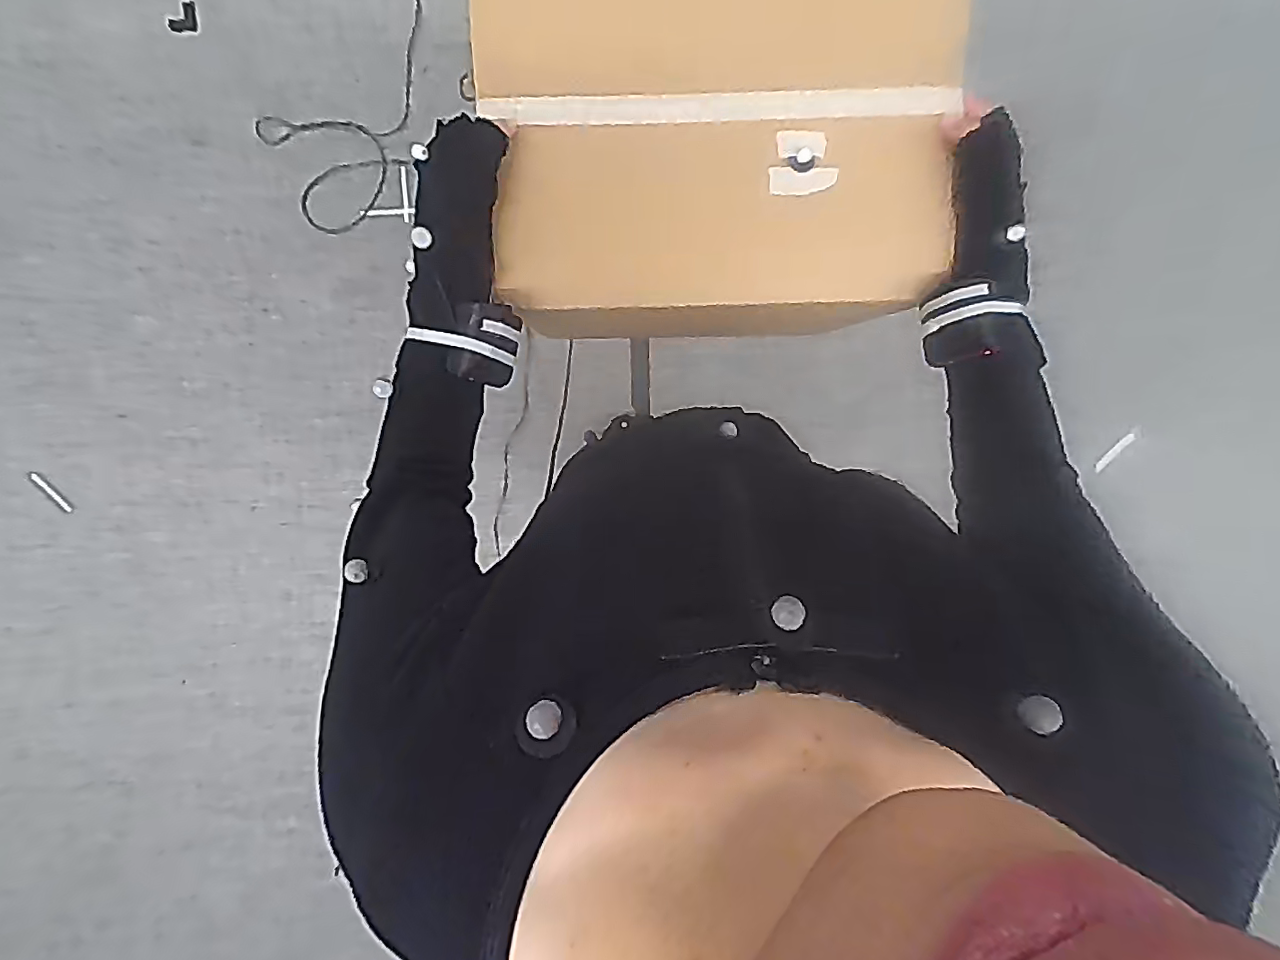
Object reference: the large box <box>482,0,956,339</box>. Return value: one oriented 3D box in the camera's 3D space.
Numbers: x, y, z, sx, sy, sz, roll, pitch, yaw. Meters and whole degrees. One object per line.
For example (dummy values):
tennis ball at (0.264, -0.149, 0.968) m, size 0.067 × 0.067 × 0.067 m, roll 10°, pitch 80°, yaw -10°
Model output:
large box at (0.066, -0.340, 0.611) m, size 0.408 × 0.320 × 0.320 m, roll -2°, pitch 100°, yaw -1°
